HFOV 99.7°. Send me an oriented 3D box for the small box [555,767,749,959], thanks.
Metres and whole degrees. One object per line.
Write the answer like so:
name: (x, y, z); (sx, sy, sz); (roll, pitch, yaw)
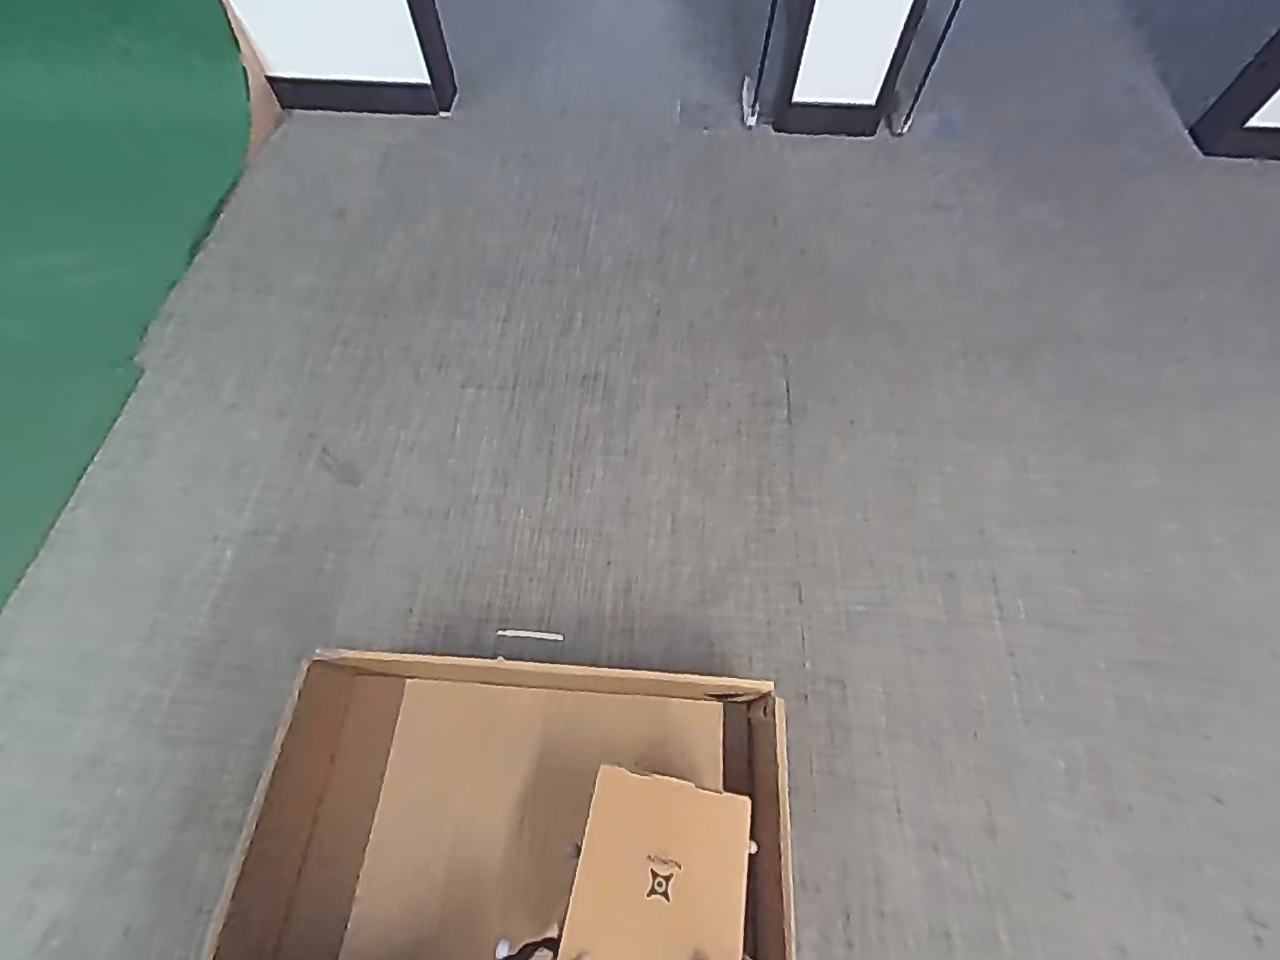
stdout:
small box: (0.015, 0.442, 0.586); (0.168, 0.176, 0.179); (11, 50, 4)
